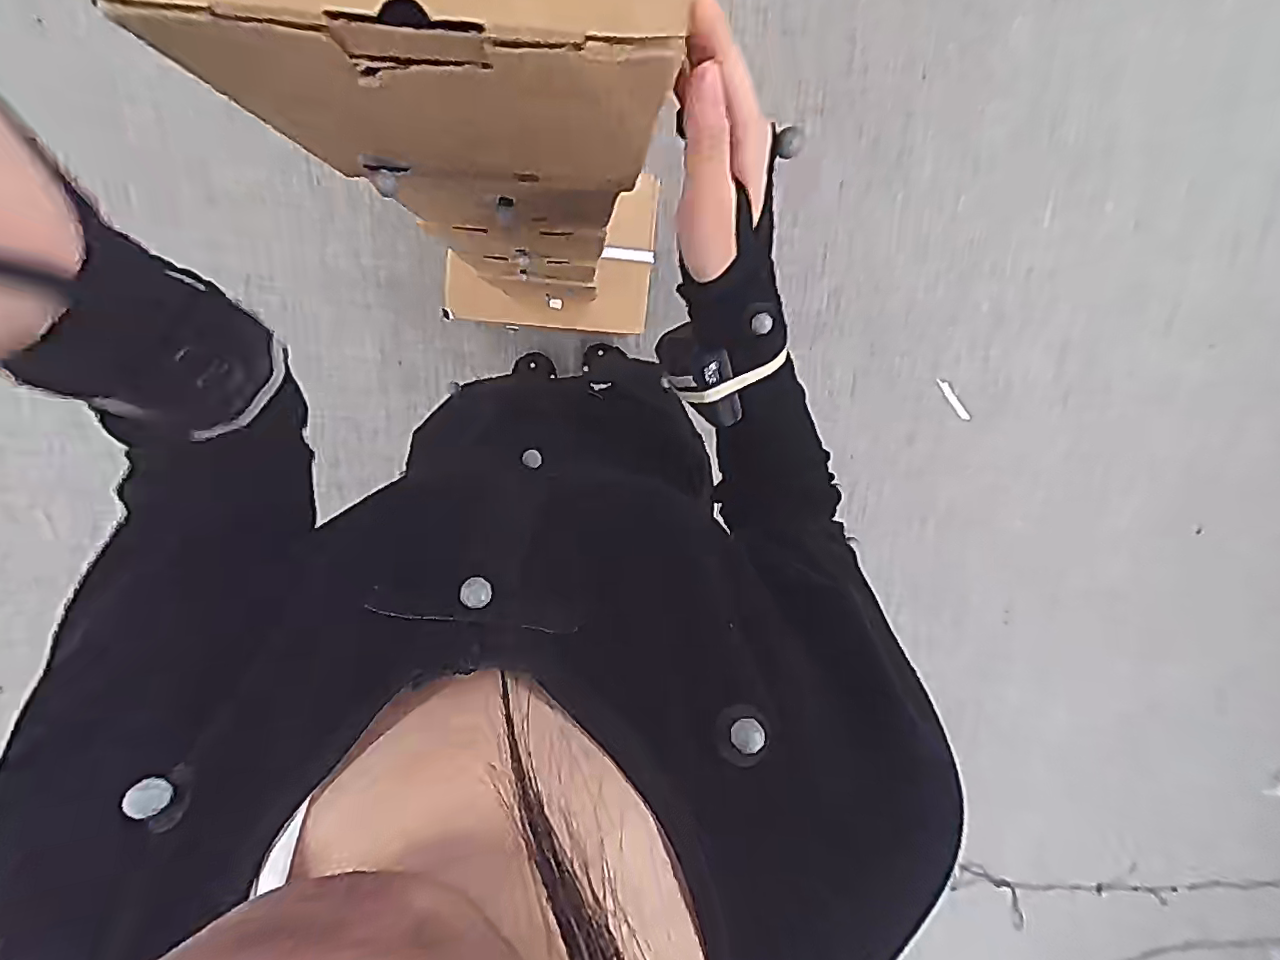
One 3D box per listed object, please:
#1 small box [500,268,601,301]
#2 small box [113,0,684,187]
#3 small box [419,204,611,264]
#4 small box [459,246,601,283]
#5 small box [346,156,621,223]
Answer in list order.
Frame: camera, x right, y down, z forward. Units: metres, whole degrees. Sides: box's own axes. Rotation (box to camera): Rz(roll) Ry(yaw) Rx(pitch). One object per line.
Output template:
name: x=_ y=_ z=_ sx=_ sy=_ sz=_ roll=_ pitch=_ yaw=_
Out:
small box: x=-0.162 y=-0.426 z=1.005 sx=0.179 sy=0.176 sz=0.168 roll=0 pitch=105 yaw=-8
small box: x=-0.072 y=-0.232 z=0.214 sx=0.168 sy=0.176 sz=0.179 roll=-1 pitch=105 yaw=-6
small box: x=-0.114 y=-0.319 z=0.528 sx=0.168 sy=0.176 sz=0.179 roll=0 pitch=105 yaw=-6
small box: x=-0.132 y=-0.357 z=0.687 sx=0.168 sy=0.176 sz=0.179 roll=1 pitch=105 yaw=-7
small box: x=-0.094 y=-0.284 z=0.370 sx=0.168 sy=0.176 sz=0.179 roll=-1 pitch=106 yaw=-7
